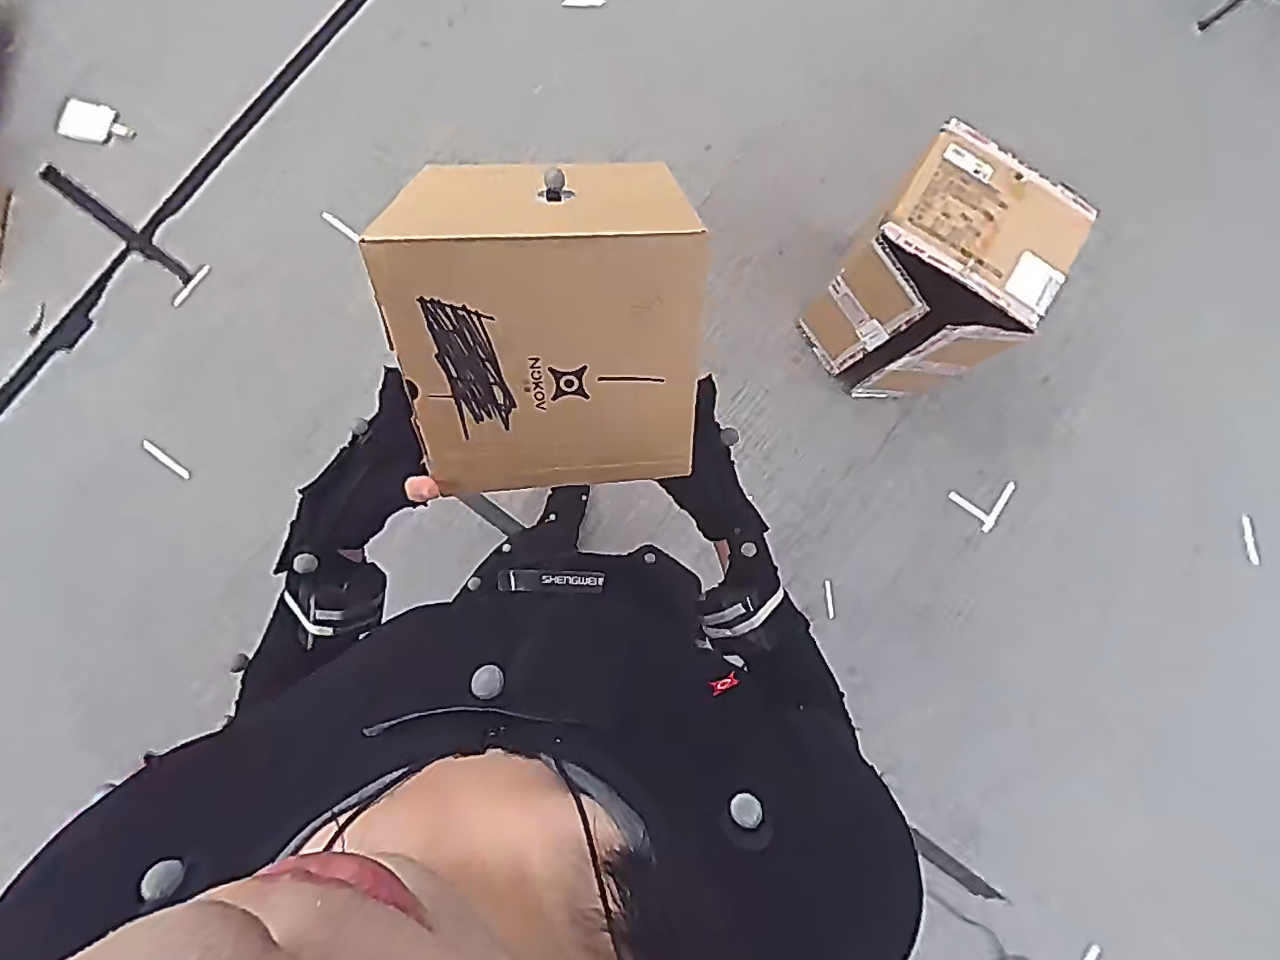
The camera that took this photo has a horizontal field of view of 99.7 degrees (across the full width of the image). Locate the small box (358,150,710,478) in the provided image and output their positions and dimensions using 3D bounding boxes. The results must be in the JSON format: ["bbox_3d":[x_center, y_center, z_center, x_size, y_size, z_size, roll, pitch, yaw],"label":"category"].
[{"bbox_3d":[-0.060,-0.119,0.377,0.179,0.168,0.176,-4,41,-5],"label":"small box"}]
